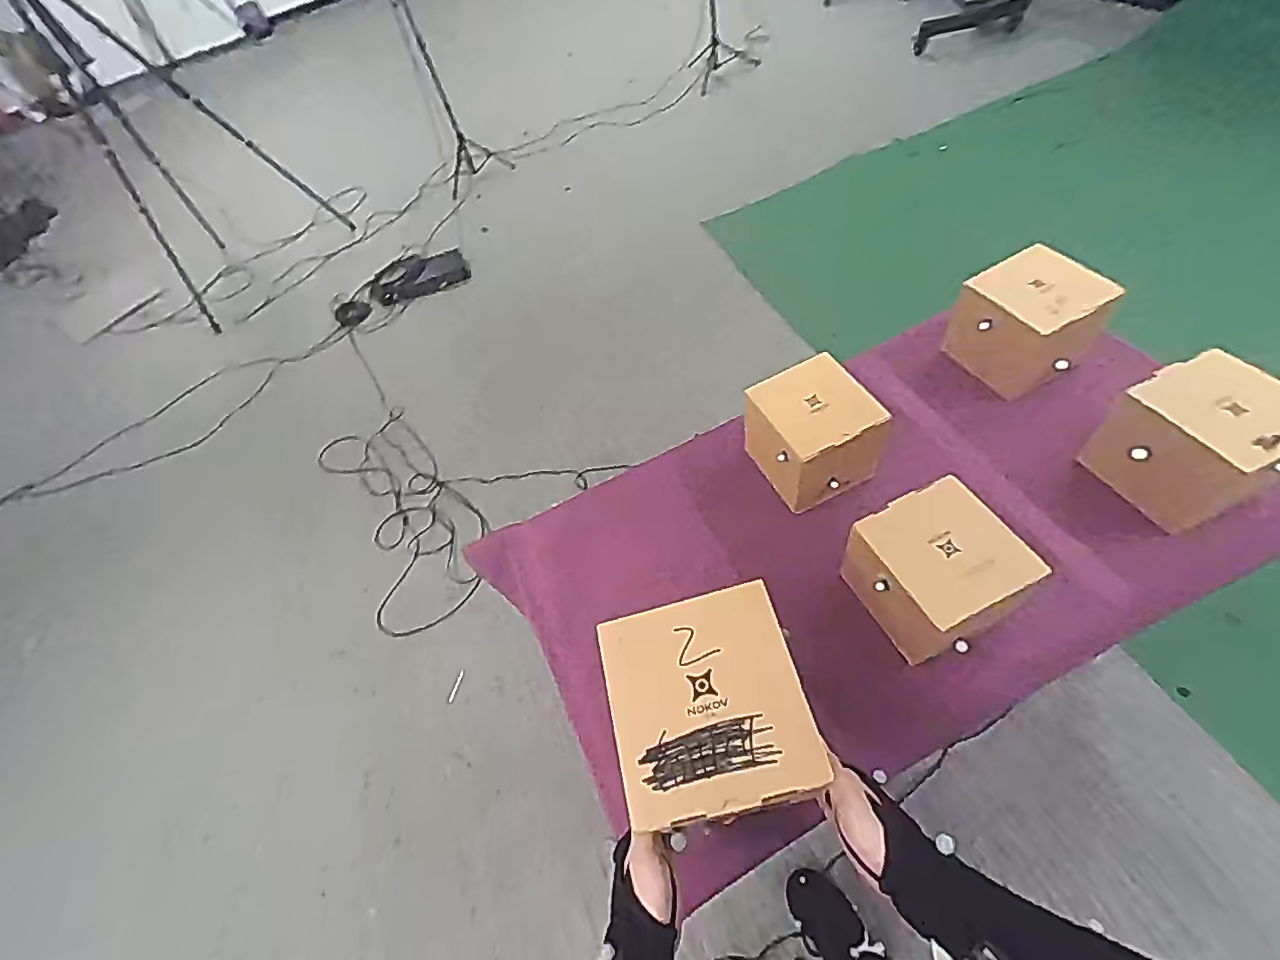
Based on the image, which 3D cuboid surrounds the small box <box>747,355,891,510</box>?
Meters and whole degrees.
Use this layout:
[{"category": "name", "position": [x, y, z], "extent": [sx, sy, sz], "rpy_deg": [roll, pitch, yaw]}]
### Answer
[{"category": "small box", "position": [0.298, -0.080, 0.949], "extent": [0.168, 0.176, 0.179], "rpy_deg": [-25, 56, -7]}]

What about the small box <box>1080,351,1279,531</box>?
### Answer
[{"category": "small box", "position": [0.829, -0.055, 0.815], "extent": [0.168, 0.176, 0.179], "rpy_deg": [-25, 53, -4]}]

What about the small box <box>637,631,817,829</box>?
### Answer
[{"category": "small box", "position": [0.105, 0.310, 0.665], "extent": [0.168, 0.176, 0.179], "rpy_deg": [-15, 56, 3]}]

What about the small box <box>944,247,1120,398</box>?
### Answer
[{"category": "small box", "position": [0.702, -0.286, 0.997], "extent": [0.168, 0.176, 0.179], "rpy_deg": [-28, 56, -4]}]
